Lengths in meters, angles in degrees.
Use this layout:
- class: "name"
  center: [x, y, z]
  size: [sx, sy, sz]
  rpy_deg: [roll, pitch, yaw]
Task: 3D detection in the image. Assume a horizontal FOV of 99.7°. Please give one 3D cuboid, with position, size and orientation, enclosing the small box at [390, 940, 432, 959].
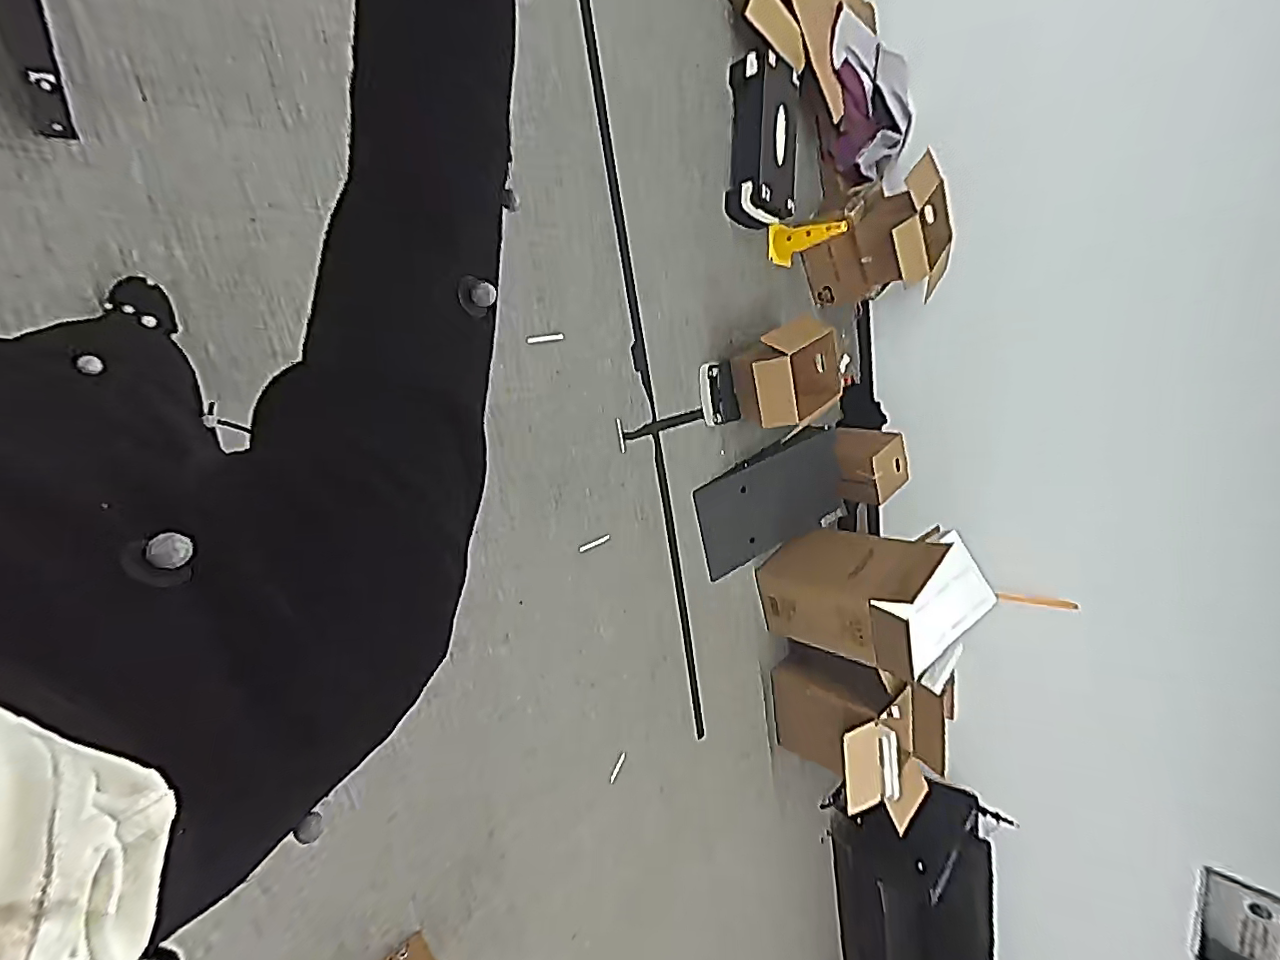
- class: "small box"
  center: [-0.709, 1.588, 1.660]
  size: [0.168, 0.176, 0.179]
  rpy_deg: [-19, 107, -42]
